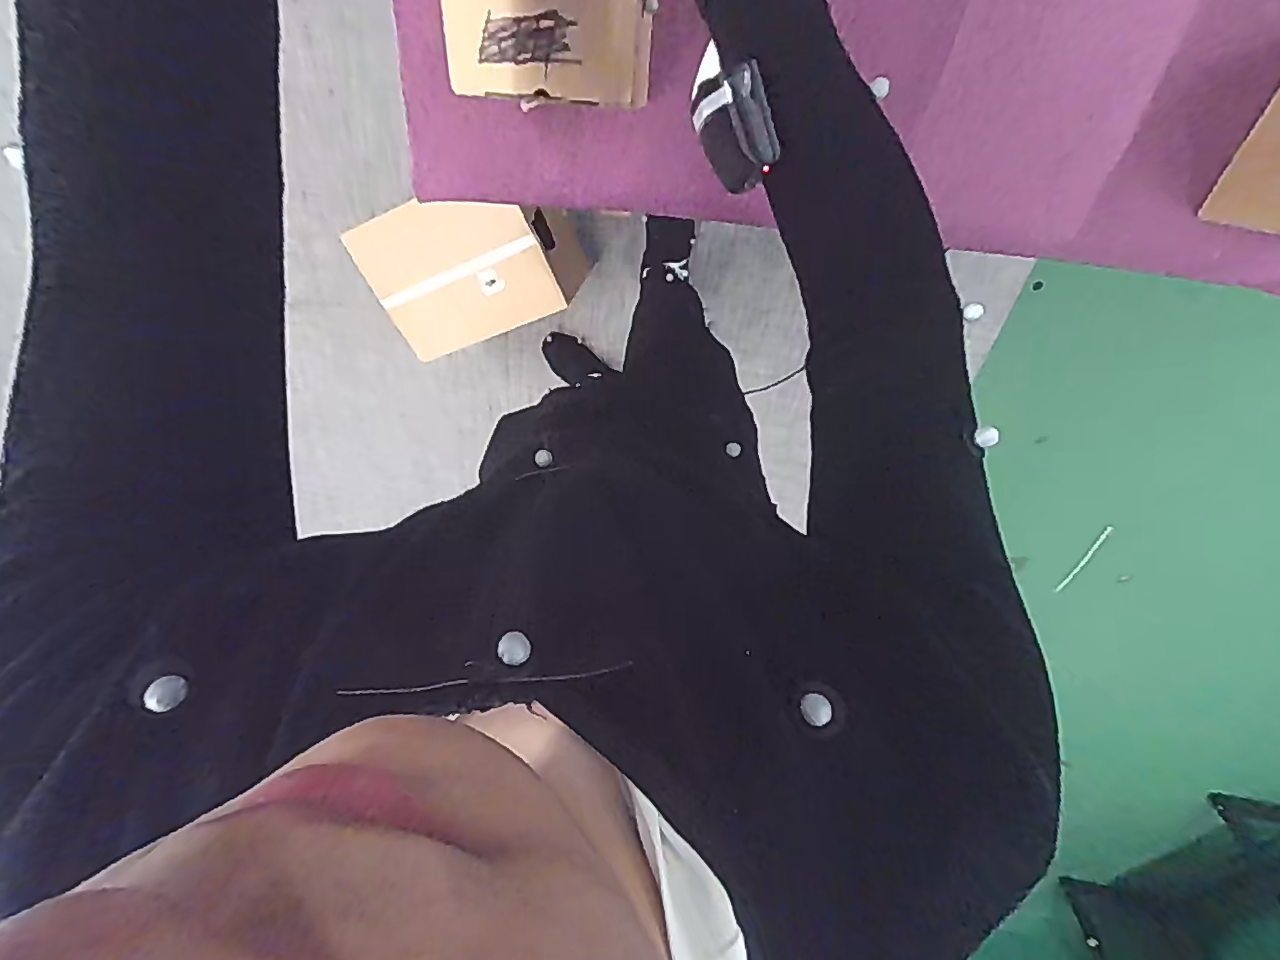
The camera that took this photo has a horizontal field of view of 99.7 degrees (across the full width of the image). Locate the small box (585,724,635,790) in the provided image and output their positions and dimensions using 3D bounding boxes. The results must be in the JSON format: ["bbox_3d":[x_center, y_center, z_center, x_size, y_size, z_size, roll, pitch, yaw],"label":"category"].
[{"bbox_3d":[-0.125,1.182,2.309,0.168,0.176,0.179,17,125,-3],"label":"small box"}]

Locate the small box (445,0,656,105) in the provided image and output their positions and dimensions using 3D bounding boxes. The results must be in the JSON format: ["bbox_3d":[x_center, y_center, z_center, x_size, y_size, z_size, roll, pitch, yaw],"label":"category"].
[{"bbox_3d":[-0.071,-0.457,0.496,0.168,0.176,0.179,6,124,1],"label":"small box"}]

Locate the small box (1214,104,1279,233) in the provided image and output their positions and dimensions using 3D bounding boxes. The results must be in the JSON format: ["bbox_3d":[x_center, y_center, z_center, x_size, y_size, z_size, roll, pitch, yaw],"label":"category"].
[{"bbox_3d":[0.725,-0.316,0.504,0.168,0.176,0.179,10,123,1],"label":"small box"}]

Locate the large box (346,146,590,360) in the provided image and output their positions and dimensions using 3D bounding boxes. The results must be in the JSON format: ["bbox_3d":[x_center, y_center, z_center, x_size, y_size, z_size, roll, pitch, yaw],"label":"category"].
[{"bbox_3d":[-0.379,-0.540,1.287,0.408,0.320,0.320,-16,123,16],"label":"large box"}]
